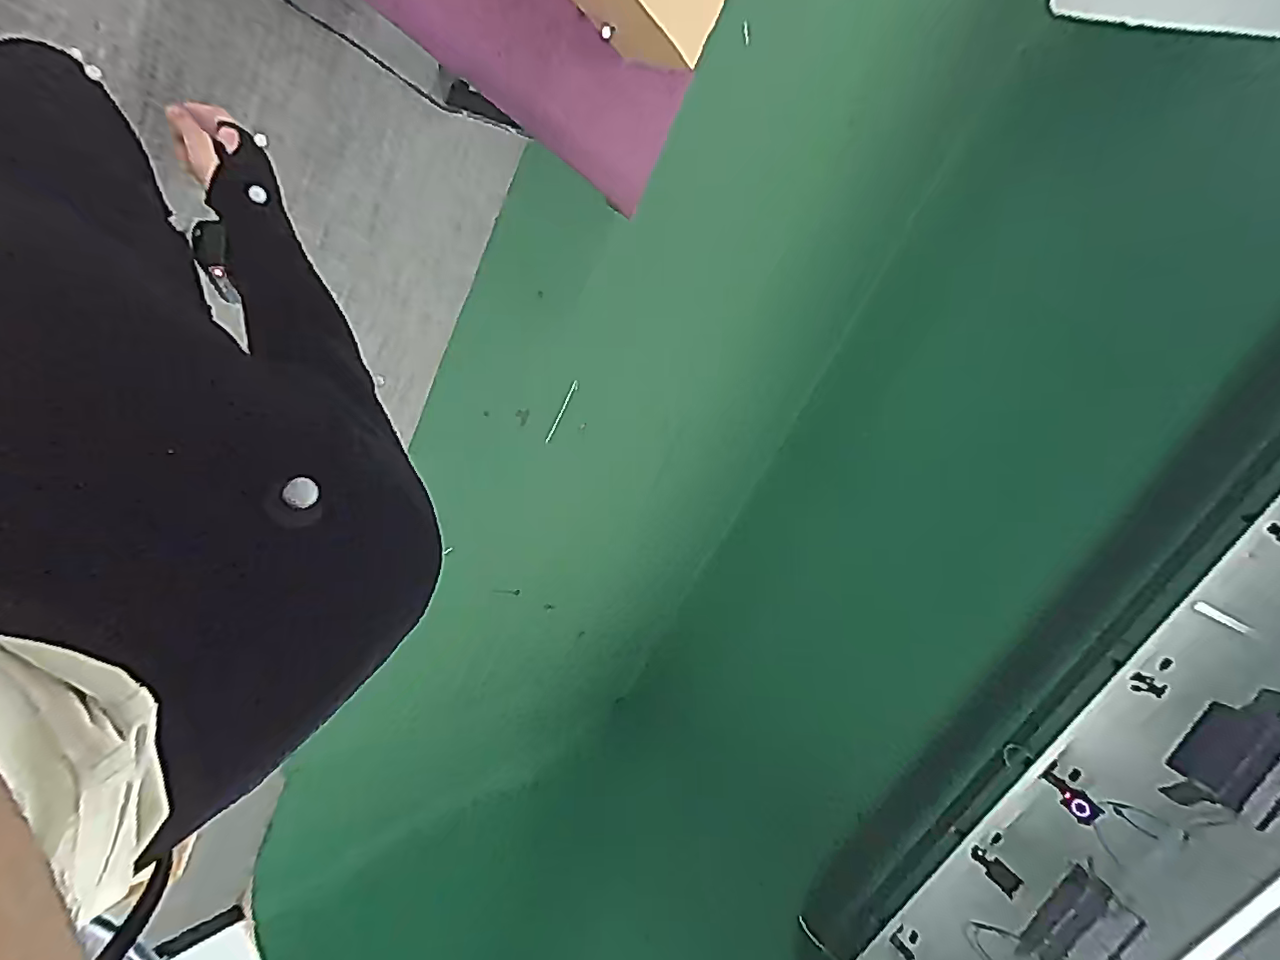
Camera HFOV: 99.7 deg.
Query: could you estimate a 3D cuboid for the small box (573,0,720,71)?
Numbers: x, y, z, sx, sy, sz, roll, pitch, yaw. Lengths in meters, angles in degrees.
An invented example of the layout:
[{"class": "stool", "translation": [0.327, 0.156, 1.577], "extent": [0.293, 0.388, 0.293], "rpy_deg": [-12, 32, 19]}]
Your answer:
[{"class": "small box", "translation": [0.011, -0.774, 0.819], "extent": [0.179, 0.176, 0.168], "rpy_deg": [2, 119, -56]}]
